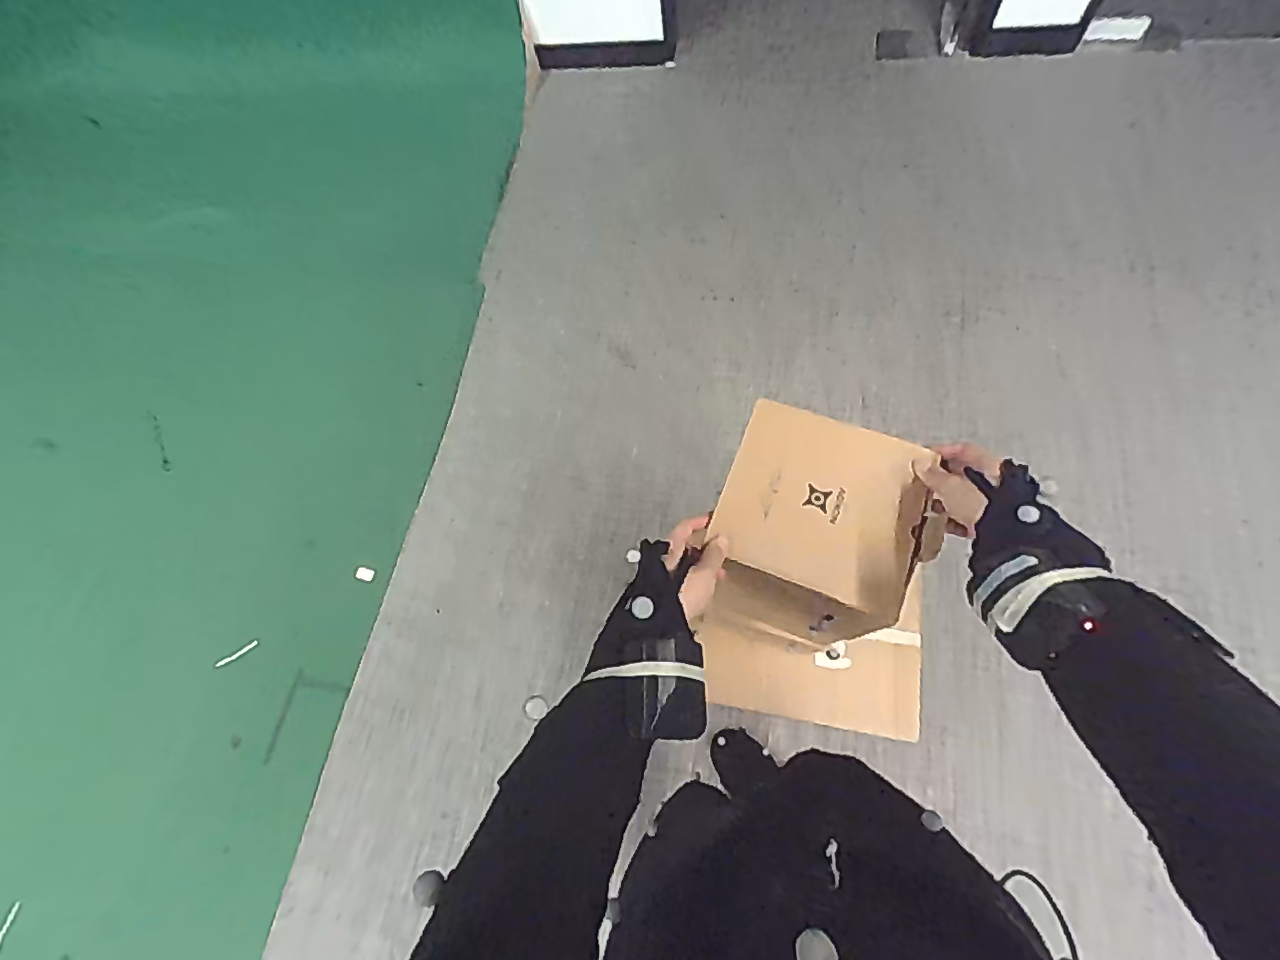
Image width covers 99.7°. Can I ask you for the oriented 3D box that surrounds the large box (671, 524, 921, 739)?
[{"bbox_3d":[0.285,0.296,1.064,0.408,0.320,0.320,7,72,10],"label":"large box"}]

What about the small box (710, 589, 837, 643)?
[{"bbox_3d":[0.196,0.105,0.713,0.179,0.176,0.168,18,72,14],"label":"small box"}]

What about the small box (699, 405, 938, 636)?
[{"bbox_3d":[0.171,0.052,0.562,0.179,0.176,0.168,19,71,14],"label":"small box"}]
